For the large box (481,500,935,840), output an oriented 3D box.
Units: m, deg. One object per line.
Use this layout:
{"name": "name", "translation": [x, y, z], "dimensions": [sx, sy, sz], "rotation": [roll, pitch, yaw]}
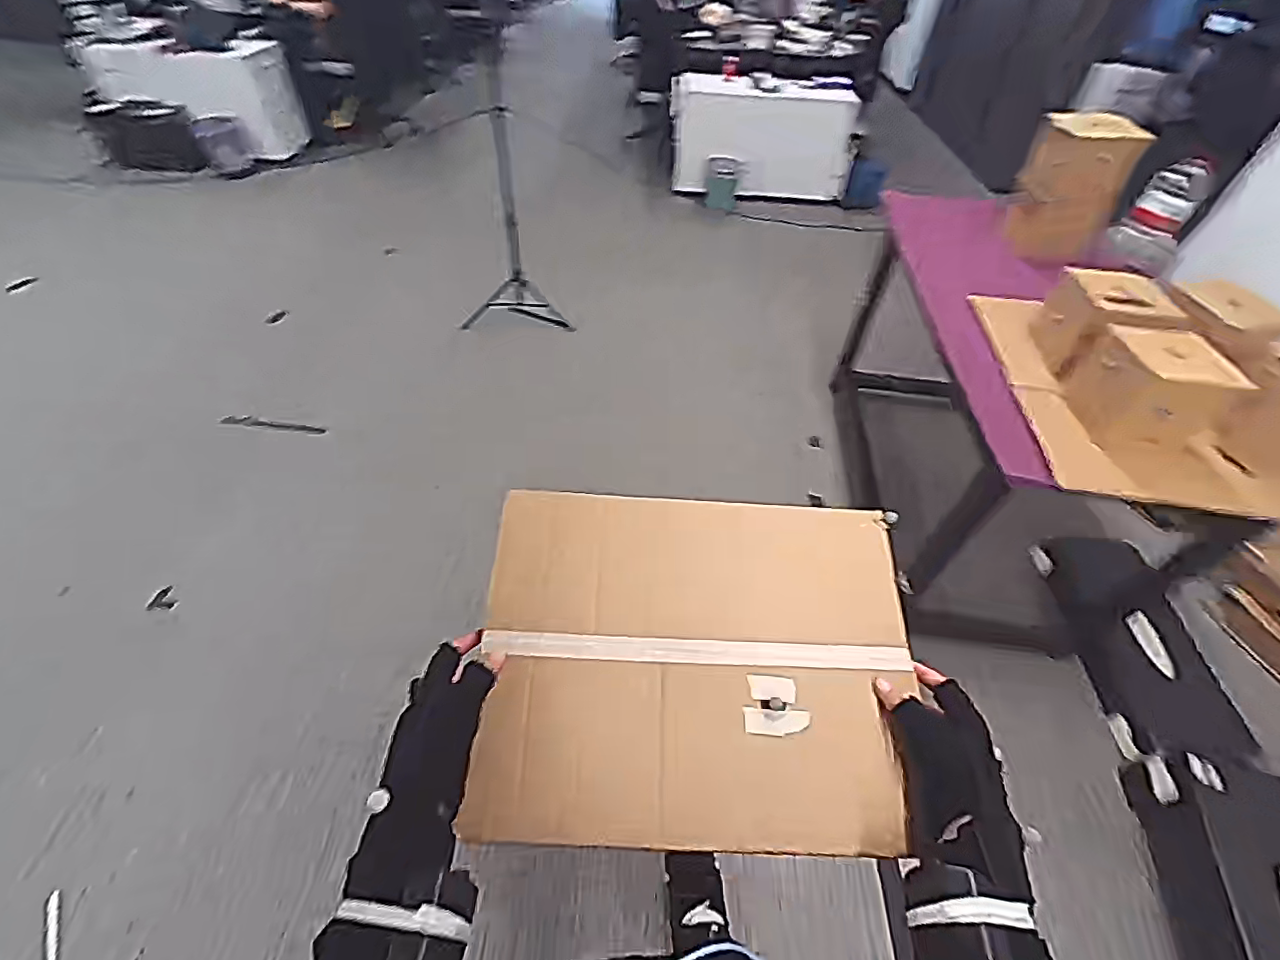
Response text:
{"name": "large box", "translation": [0.054, 0.235, 0.661], "dimensions": [0.408, 0.320, 0.320], "rotation": [3, 64, -2]}
